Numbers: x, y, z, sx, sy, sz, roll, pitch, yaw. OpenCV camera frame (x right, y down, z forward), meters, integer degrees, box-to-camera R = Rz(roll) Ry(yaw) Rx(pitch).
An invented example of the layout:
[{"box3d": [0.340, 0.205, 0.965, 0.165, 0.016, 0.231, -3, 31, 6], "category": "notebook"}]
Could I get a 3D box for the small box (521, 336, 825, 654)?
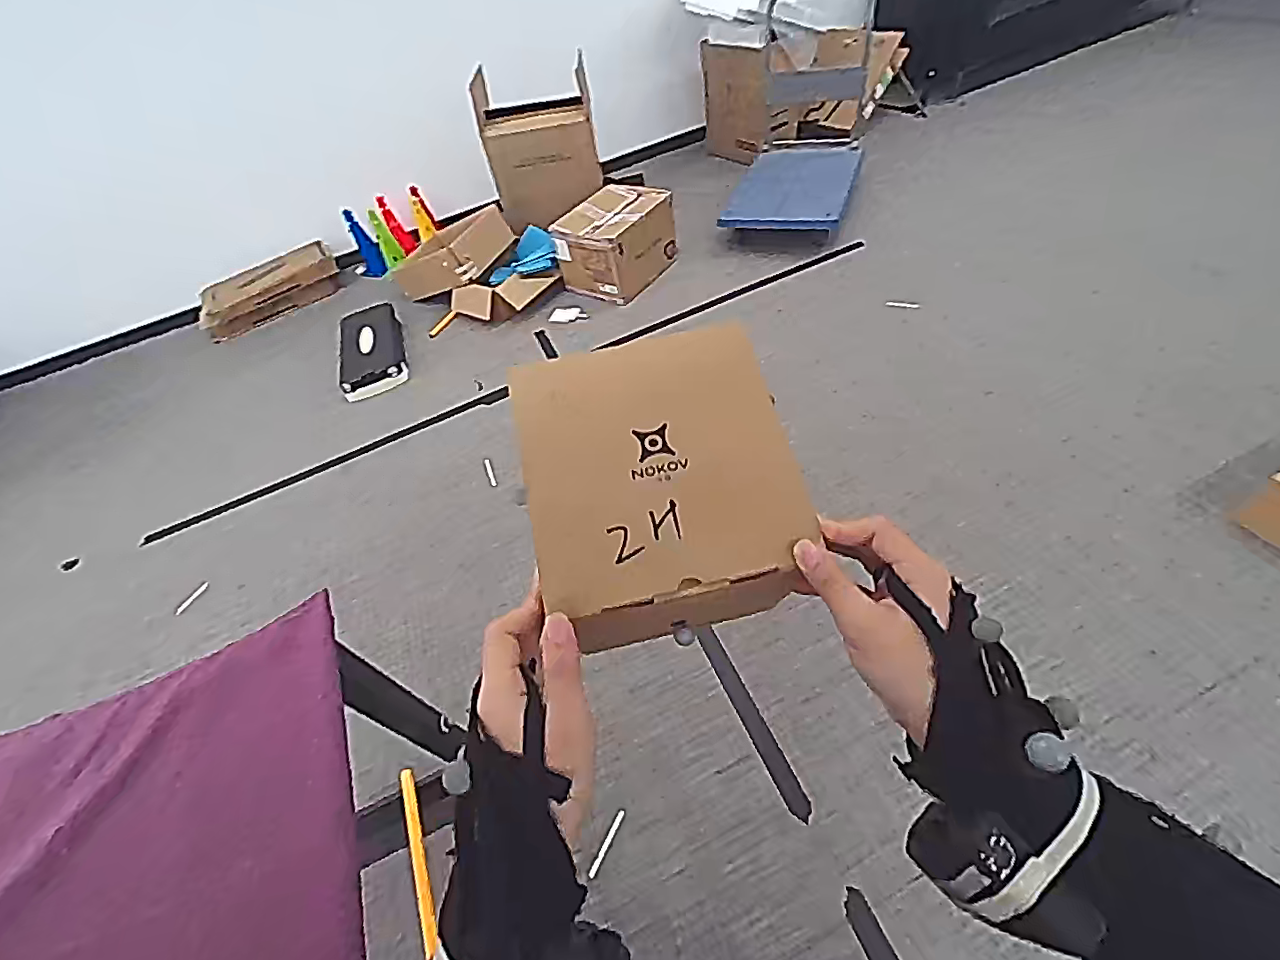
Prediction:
[{"box3d": [0.014, 0.022, 0.418, 0.168, 0.176, 0.179, -12, 67, -3], "category": "small box"}]
